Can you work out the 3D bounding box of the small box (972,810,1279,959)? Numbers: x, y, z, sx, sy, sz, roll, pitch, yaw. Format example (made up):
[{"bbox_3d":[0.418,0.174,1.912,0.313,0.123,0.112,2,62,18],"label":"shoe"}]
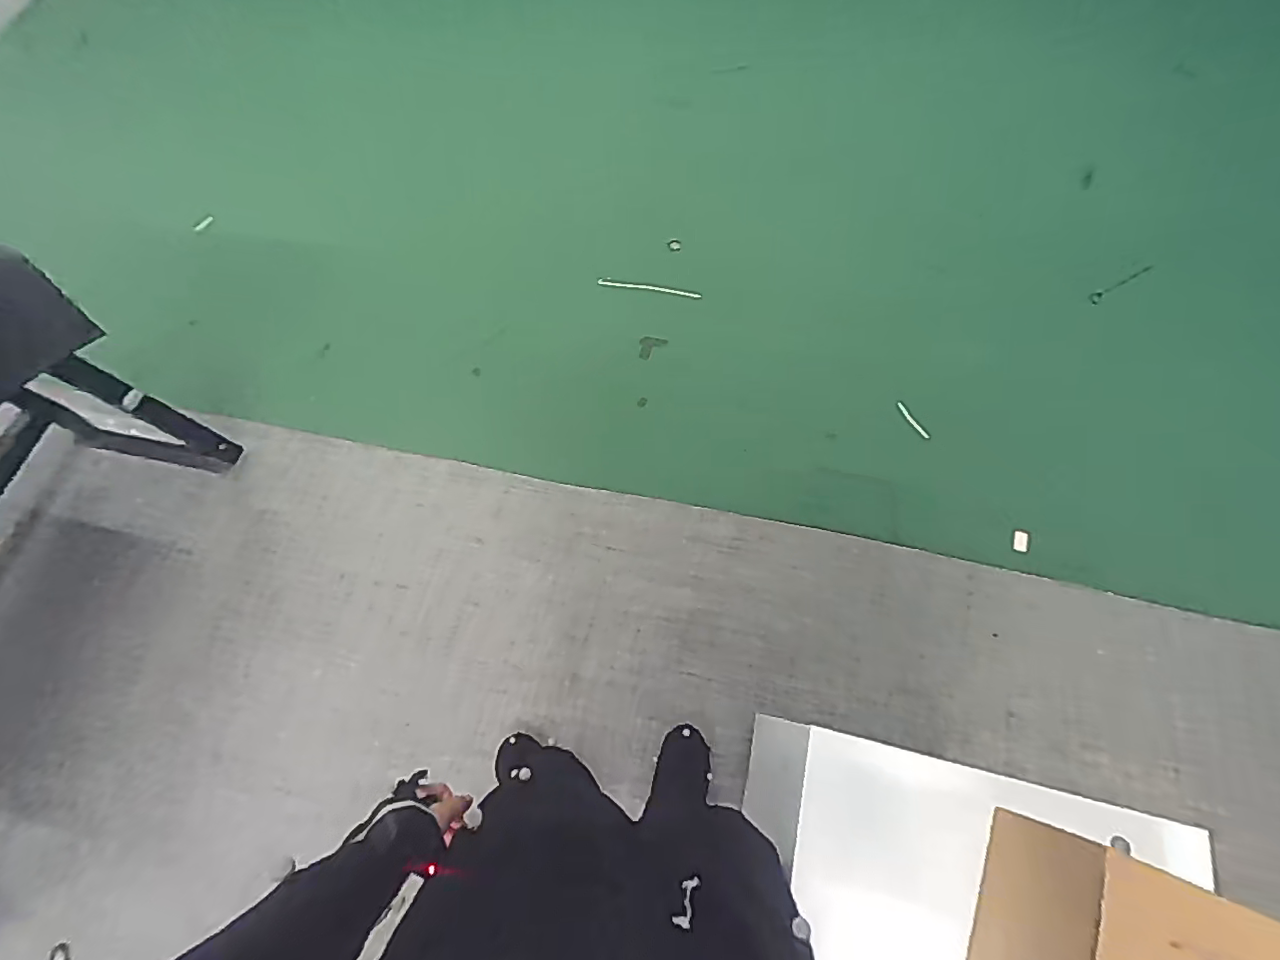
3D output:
[{"bbox_3d":[0.407,0.411,0.446,0.168,0.176,0.179,21,71,12],"label":"small box"}]
